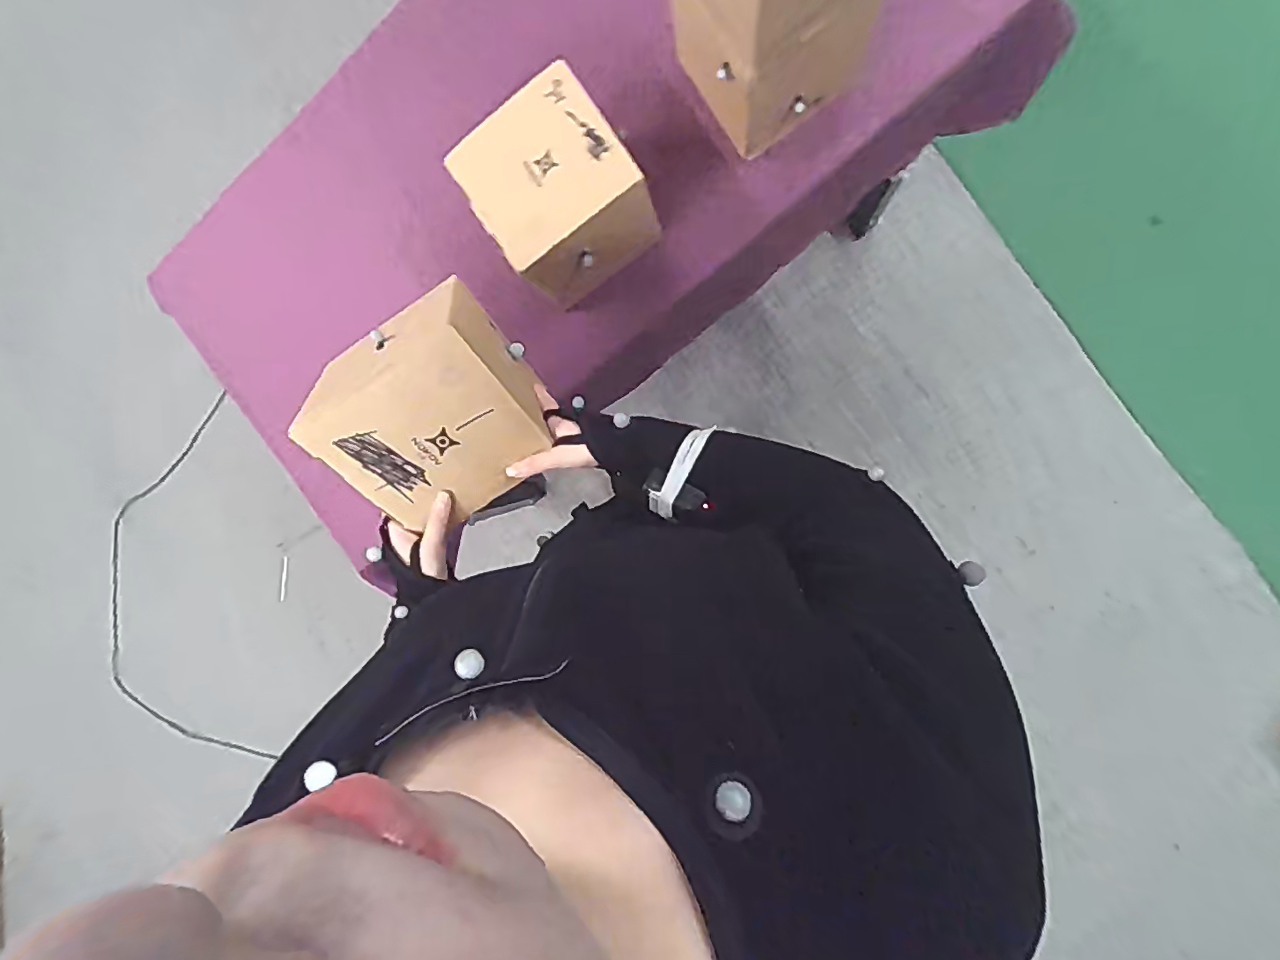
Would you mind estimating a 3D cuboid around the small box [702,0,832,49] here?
[{"bbox_3d":[0.121,-0.531,0.468,0.168,0.176,0.179,-34,88,9],"label":"small box"}]

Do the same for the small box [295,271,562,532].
[{"bbox_3d":[-0.204,-0.086,0.562,0.179,0.176,0.168,-32,127,5],"label":"small box"}]

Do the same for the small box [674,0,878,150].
[{"bbox_3d":[0.148,-0.541,0.631,0.168,0.176,0.179,-33,88,10],"label":"small box"}]

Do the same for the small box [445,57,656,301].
[{"bbox_3d":[-0.099,-0.356,0.682,0.179,0.176,0.168,-33,87,10],"label":"small box"}]
